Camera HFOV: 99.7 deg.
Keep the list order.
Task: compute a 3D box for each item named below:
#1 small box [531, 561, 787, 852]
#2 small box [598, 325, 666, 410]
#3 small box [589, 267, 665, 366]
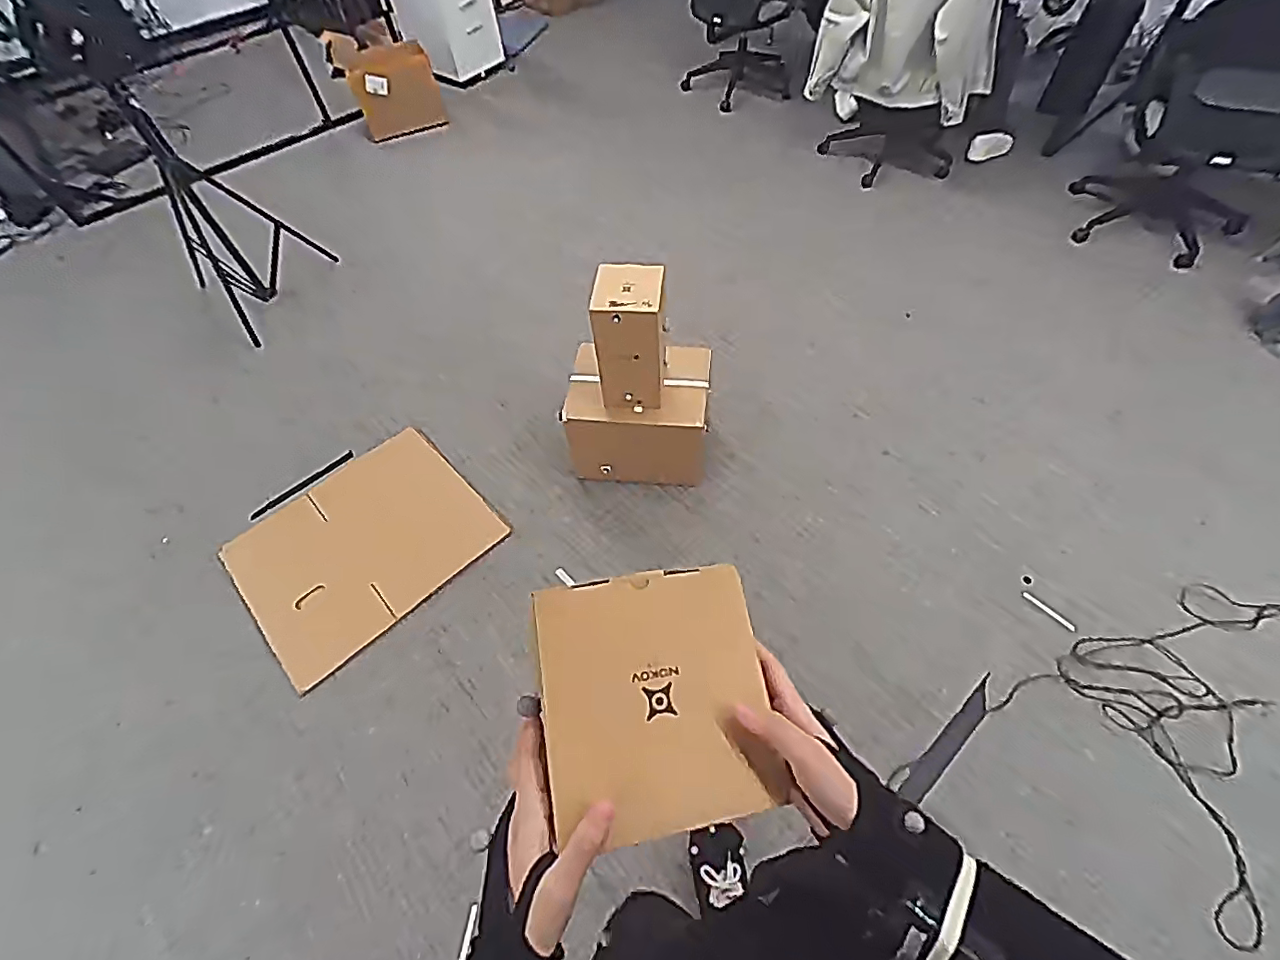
[{"bbox_3d":[-0.002,0.182,0.463,0.168,0.176,0.179,-5,67,-14],"label":"small box"},{"bbox_3d":[-0.017,-0.318,1.500,0.168,0.176,0.179,3,57,6],"label":"small box"},{"bbox_3d":[-0.025,-0.412,1.365,0.168,0.176,0.179,3,56,7],"label":"small box"}]
